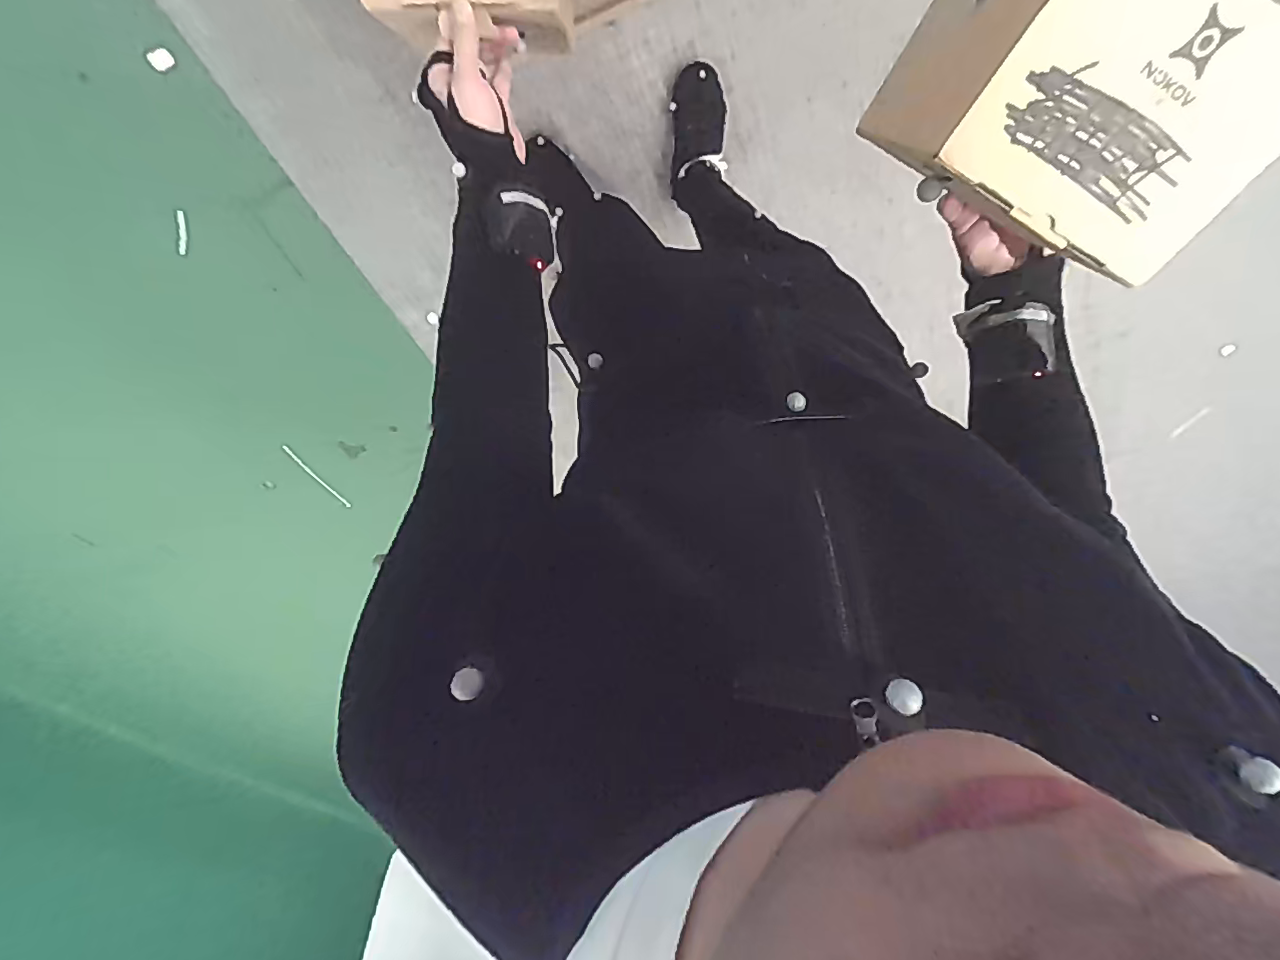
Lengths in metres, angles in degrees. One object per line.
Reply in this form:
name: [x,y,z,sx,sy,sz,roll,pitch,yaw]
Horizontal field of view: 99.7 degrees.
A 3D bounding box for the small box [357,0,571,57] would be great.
small box: [-0.155,-0.505,0.486,0.168,0.176,0.179,-1,115,-1]
